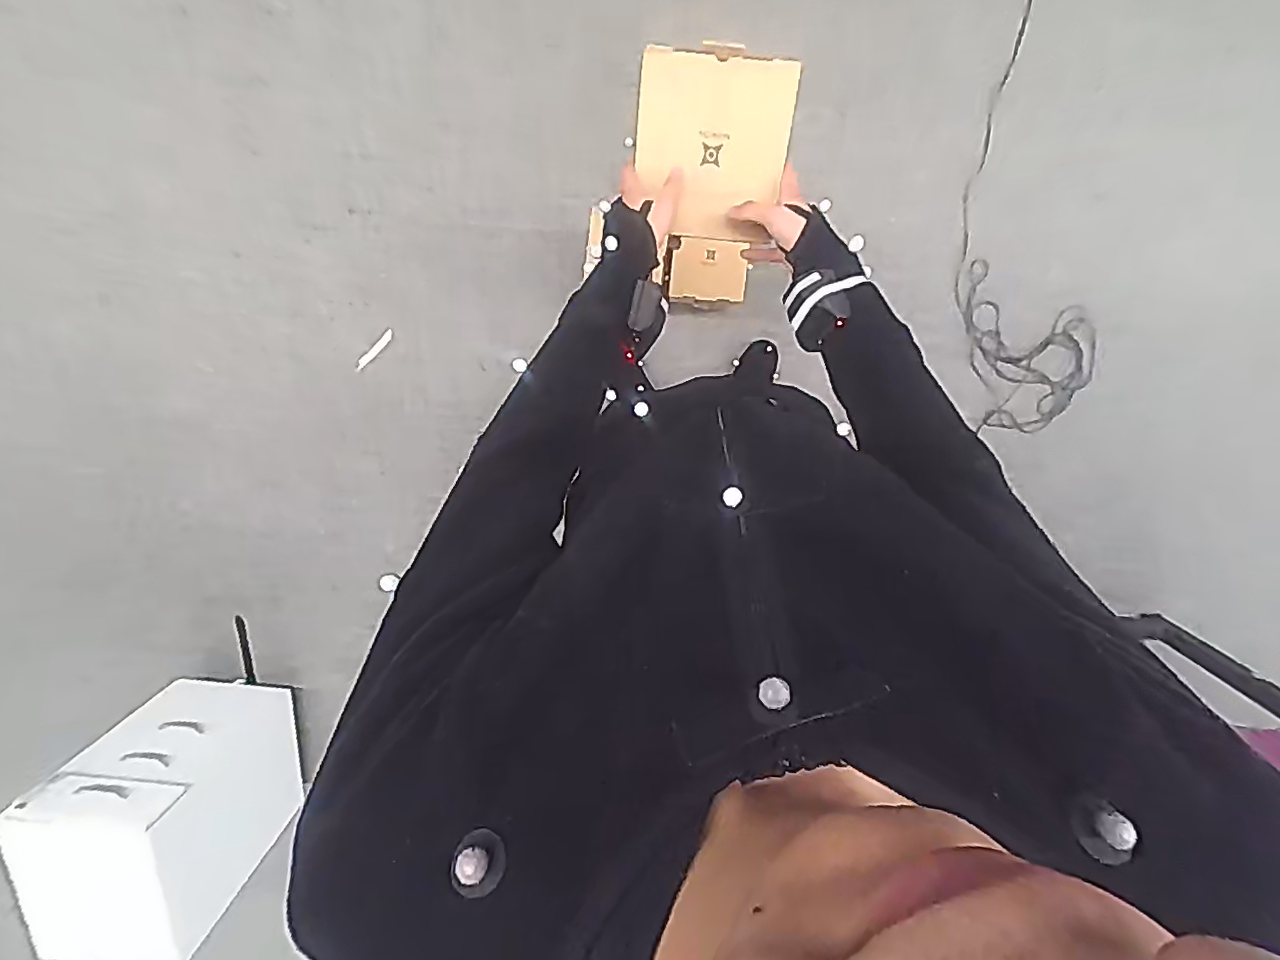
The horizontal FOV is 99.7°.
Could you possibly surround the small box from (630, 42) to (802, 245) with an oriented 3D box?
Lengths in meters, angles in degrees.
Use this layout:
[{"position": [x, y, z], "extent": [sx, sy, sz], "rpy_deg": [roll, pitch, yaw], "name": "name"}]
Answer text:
[{"position": [0.076, -0.389, 0.656], "extent": [0.168, 0.176, 0.179], "rpy_deg": [4, 115, -3], "name": "small box"}]
